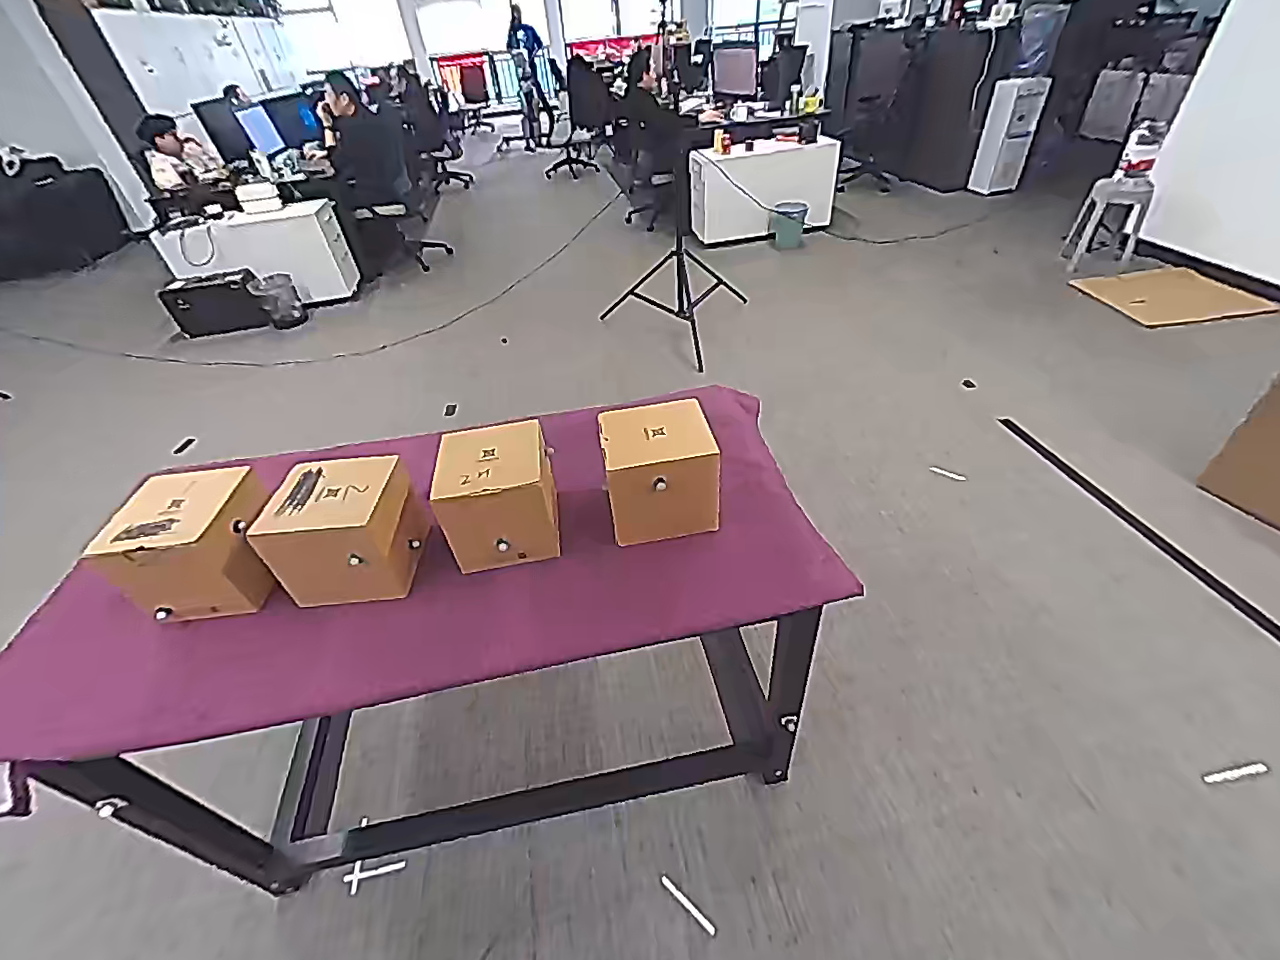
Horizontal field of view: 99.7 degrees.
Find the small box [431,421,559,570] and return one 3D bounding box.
[{"bbox_3d":[-0.234,0.026,0.915,0.168,0.176,0.179,-10,40,-4],"label":"small box"}]

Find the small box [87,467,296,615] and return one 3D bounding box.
[{"bbox_3d":[-0.704,0.104,0.880,0.168,0.176,0.179,-6,41,-1],"label":"small box"}]

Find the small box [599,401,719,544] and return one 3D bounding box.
[{"bbox_3d":[0.030,-0.012,0.926,0.179,0.176,0.168,-9,38,-4],"label":"small box"}]
